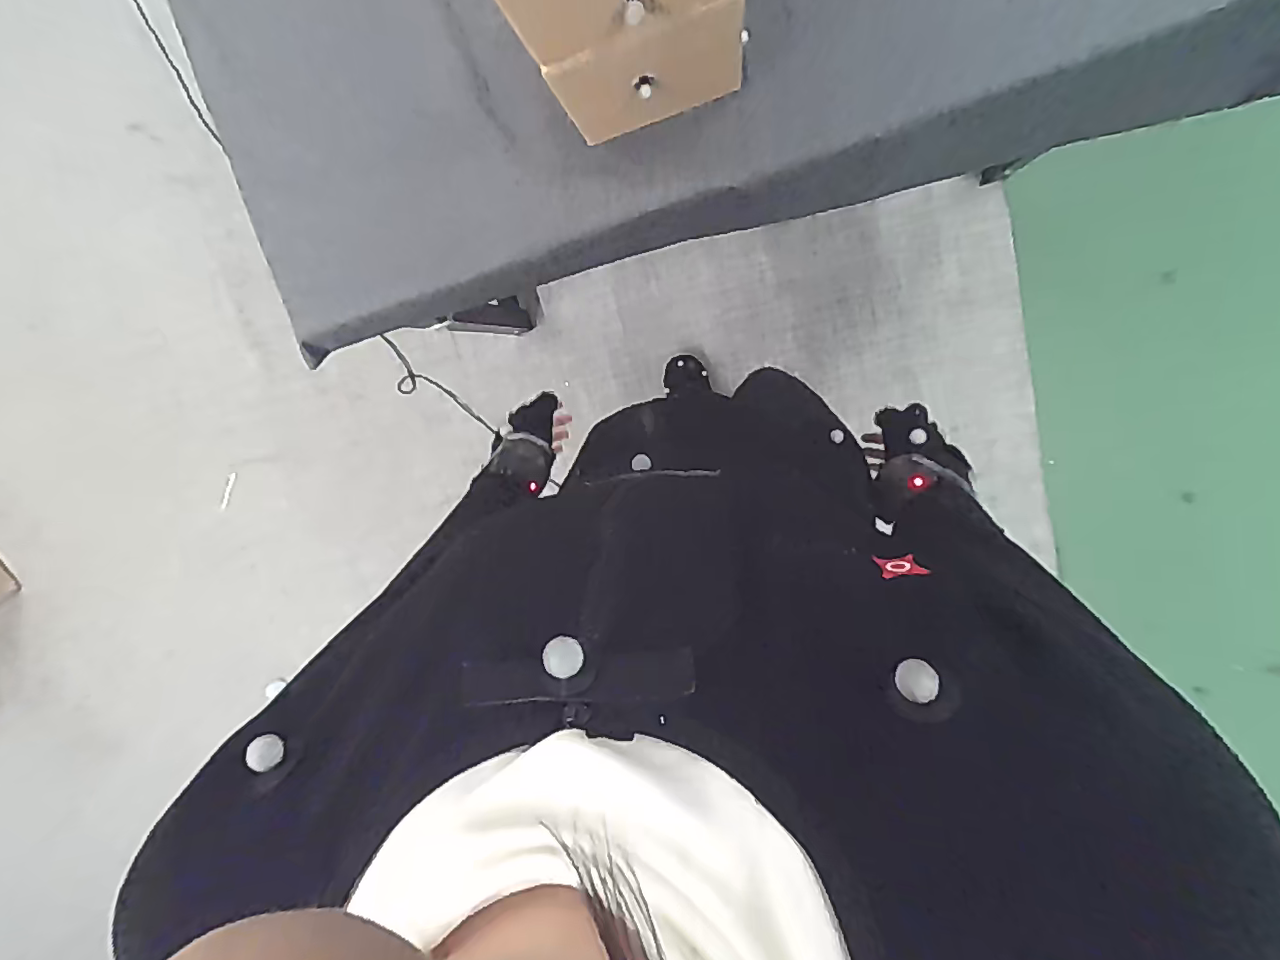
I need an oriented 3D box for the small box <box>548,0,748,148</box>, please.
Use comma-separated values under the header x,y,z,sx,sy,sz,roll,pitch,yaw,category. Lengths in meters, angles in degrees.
x,y,z,sx,sy,sz,roll,pitch,yaw,category
-0.008,-0.456,0.512,0.179,0.176,0.168,-17,100,12,small box
